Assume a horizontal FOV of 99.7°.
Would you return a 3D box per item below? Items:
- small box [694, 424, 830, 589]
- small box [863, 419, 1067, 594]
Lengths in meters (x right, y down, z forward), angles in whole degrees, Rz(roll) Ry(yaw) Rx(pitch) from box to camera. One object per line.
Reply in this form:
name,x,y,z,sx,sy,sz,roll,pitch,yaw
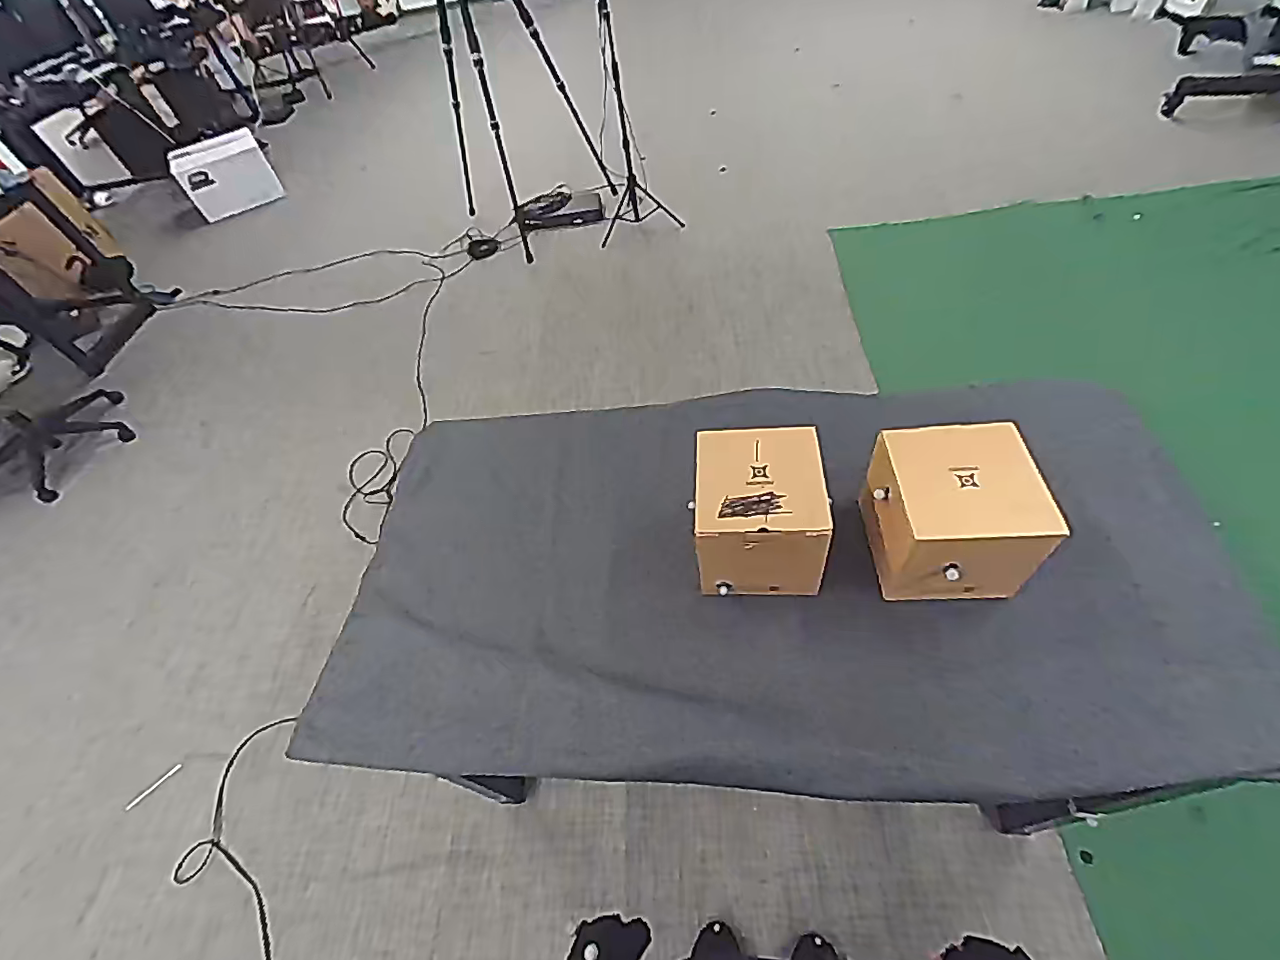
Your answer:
small box,0.167,0.043,0.765,0.168,0.176,0.179,-1,52,9
small box,0.411,0.043,0.721,0.168,0.176,0.179,-4,52,8
